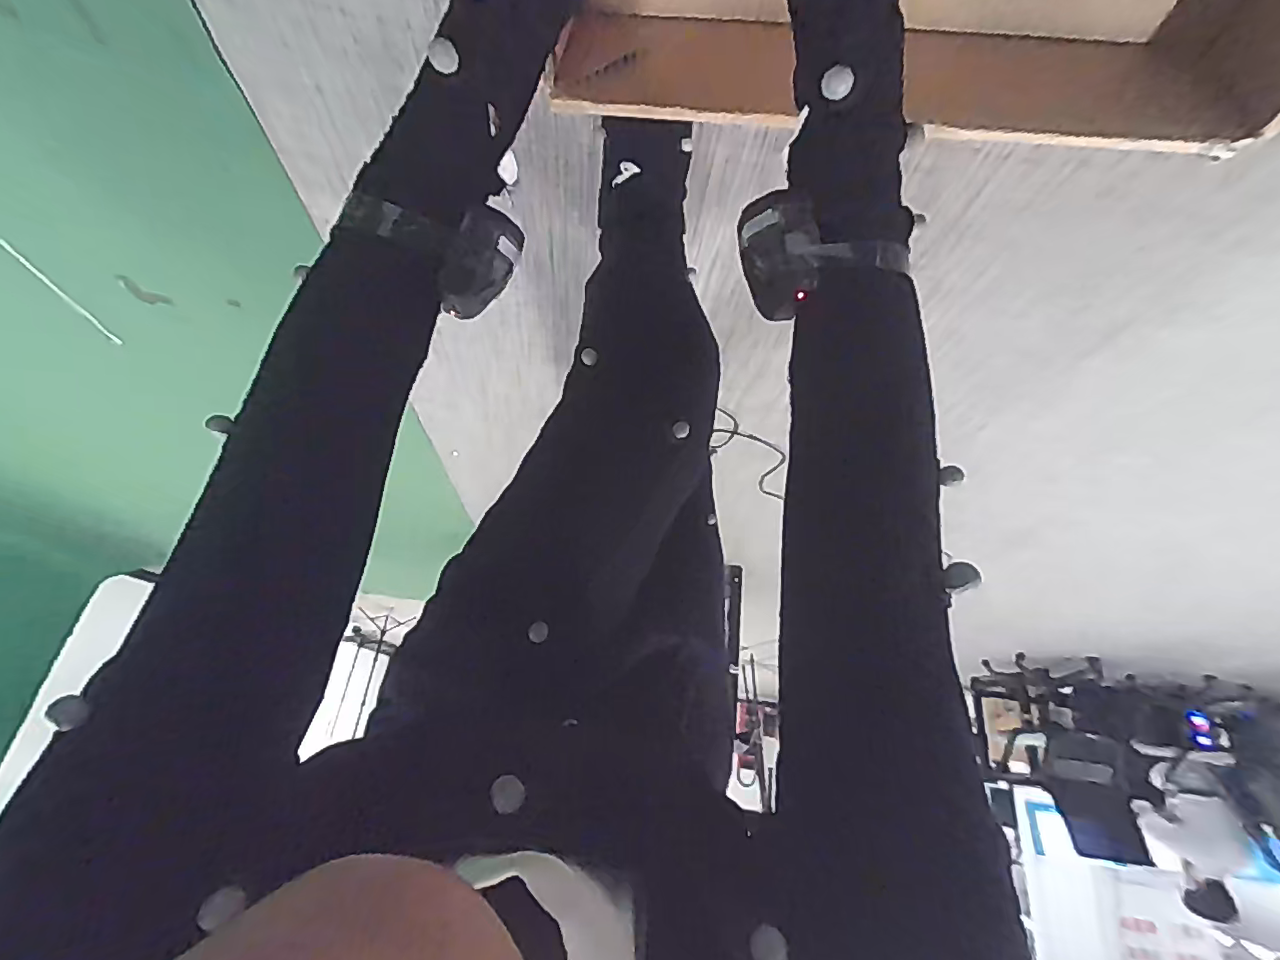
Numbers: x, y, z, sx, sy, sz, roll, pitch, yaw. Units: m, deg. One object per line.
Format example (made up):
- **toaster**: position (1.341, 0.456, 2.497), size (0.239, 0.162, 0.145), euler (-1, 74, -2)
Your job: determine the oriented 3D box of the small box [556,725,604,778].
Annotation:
- **small box**: position (-0.248, 1.132, 2.260), size (0.179, 0.176, 0.168), euler (10, 156, -2)
